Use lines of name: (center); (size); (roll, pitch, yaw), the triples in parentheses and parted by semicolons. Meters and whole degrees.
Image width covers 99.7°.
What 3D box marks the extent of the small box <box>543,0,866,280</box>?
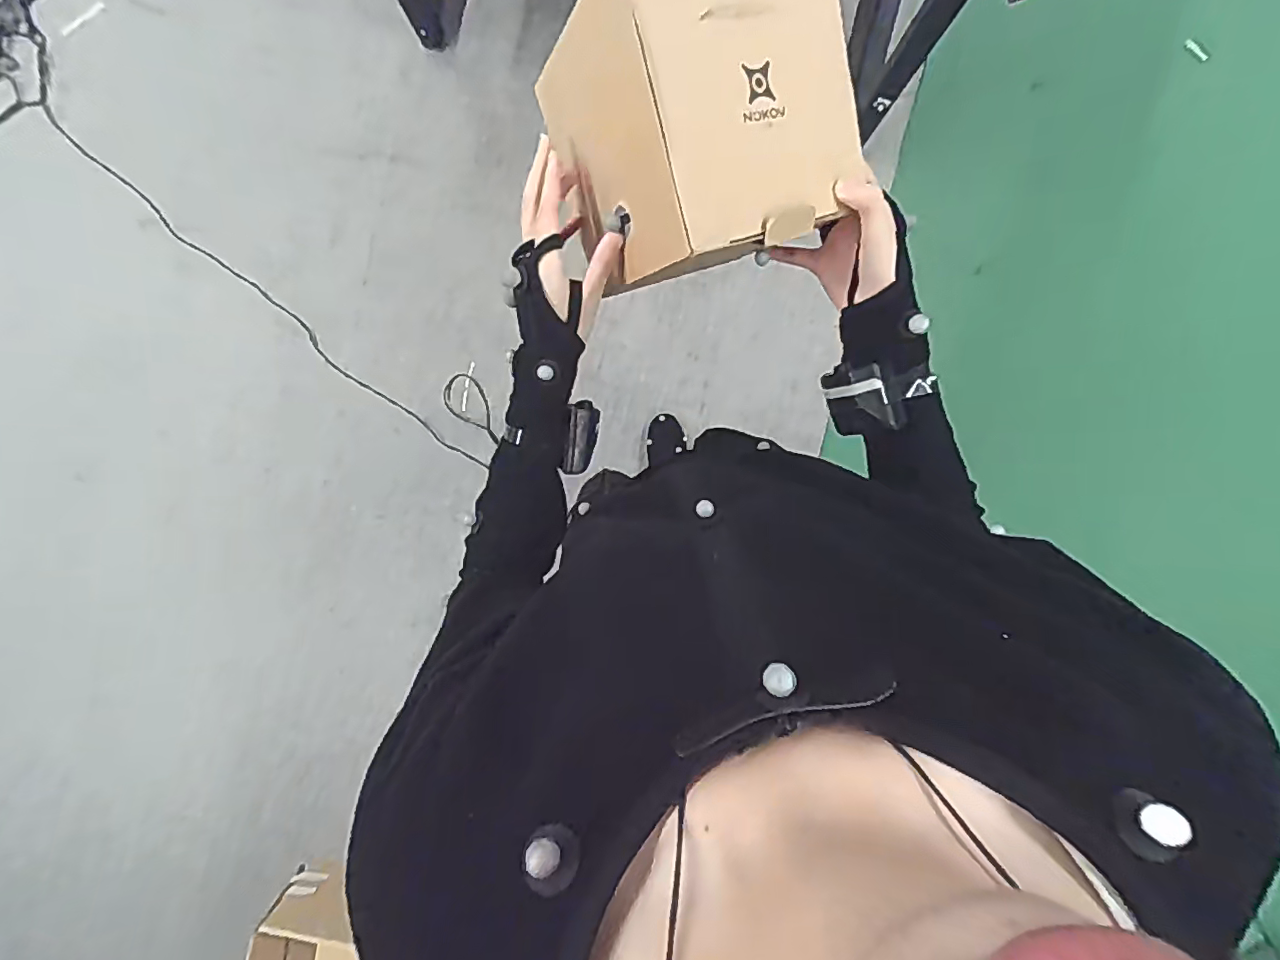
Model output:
small box: (0.042, -0.268, 0.425); (0.168, 0.176, 0.179); (-23, 107, -22)
